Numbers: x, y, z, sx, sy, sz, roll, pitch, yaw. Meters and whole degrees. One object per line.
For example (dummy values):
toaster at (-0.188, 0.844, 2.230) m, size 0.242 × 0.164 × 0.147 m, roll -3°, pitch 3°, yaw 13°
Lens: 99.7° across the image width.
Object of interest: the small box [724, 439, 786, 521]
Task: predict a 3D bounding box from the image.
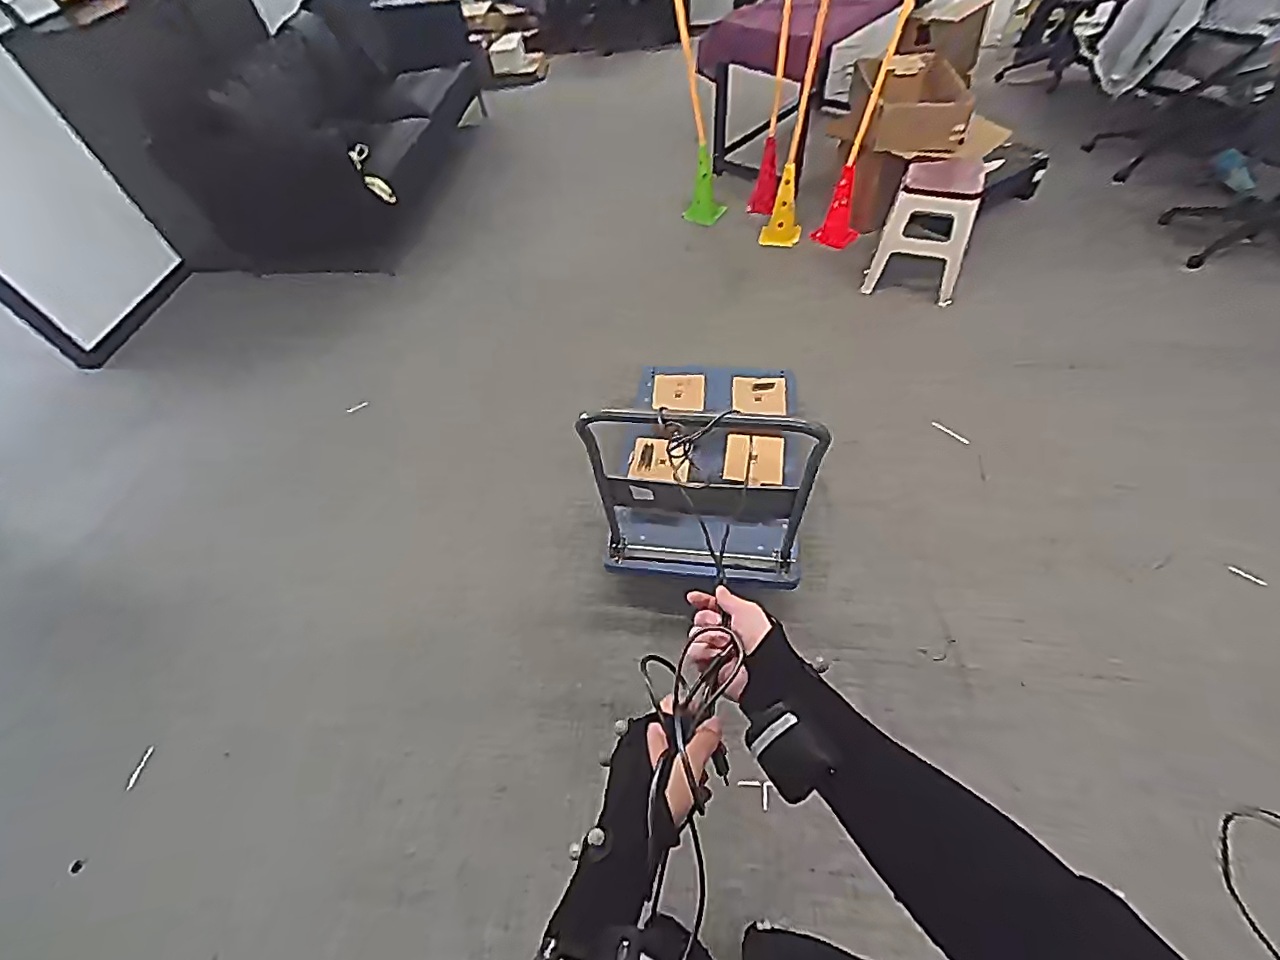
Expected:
small box at (0.346, 0.001, 1.632) m, size 0.168 × 0.176 × 0.179 m, roll 5°, pitch 56°, yaw 11°

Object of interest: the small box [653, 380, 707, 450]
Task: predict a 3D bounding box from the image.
small box at (0.140, -0.215, 1.815) m, size 0.168 × 0.176 × 0.179 m, roll 1°, pitch 54°, yaw 7°

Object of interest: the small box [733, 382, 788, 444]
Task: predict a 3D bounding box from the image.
small box at (0.391, -0.199, 1.771) m, size 0.168 × 0.176 × 0.179 m, roll 2°, pitch 55°, yaw 10°
